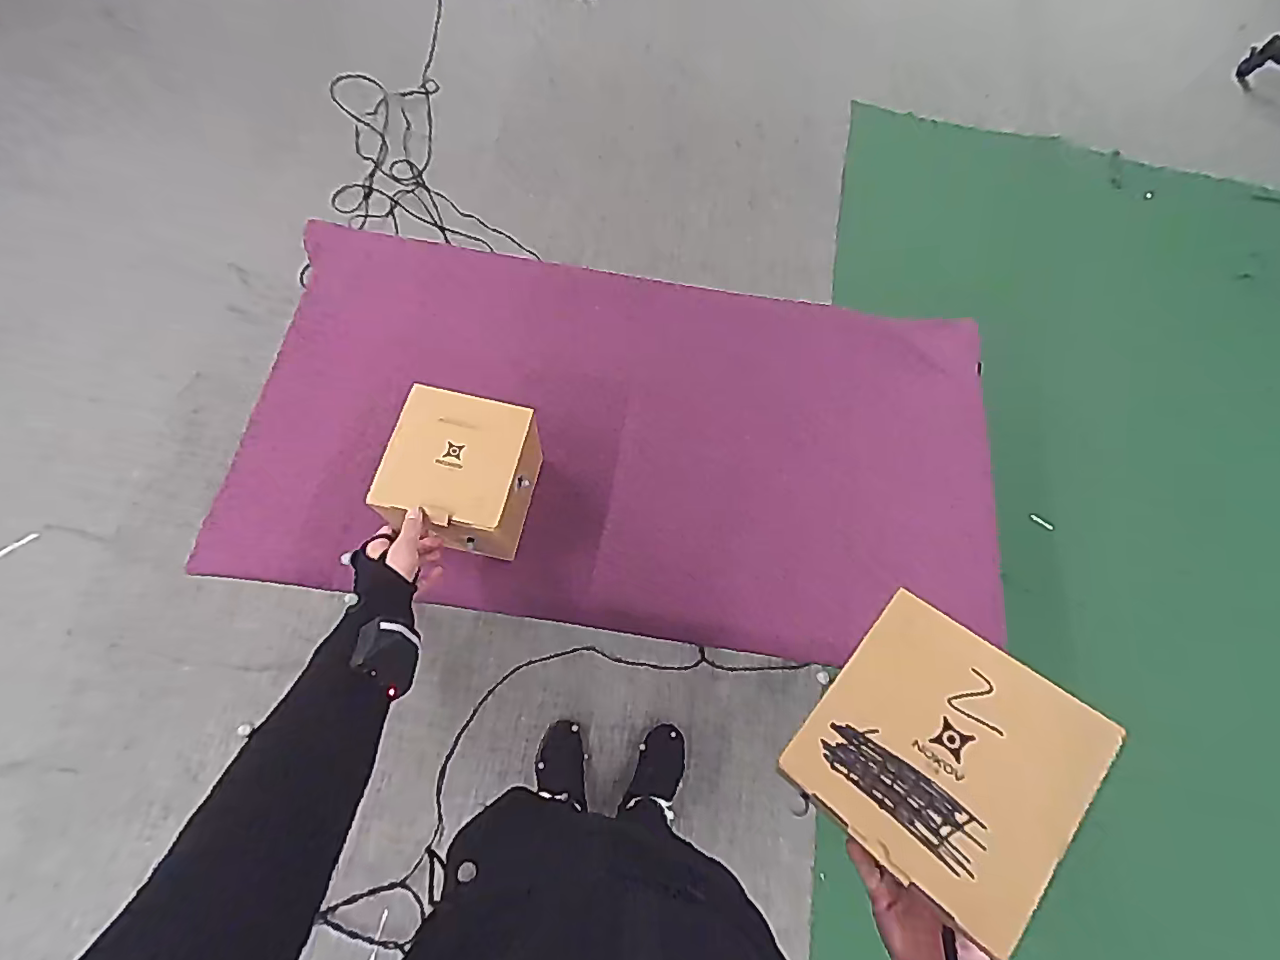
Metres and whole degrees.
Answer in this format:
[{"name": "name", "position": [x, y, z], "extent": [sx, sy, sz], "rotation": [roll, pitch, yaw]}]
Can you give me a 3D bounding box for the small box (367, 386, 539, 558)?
[{"name": "small box", "position": [-0.247, -0.002, 0.768], "extent": [0.168, 0.176, 0.179], "rotation": [13, 67, -1]}]
